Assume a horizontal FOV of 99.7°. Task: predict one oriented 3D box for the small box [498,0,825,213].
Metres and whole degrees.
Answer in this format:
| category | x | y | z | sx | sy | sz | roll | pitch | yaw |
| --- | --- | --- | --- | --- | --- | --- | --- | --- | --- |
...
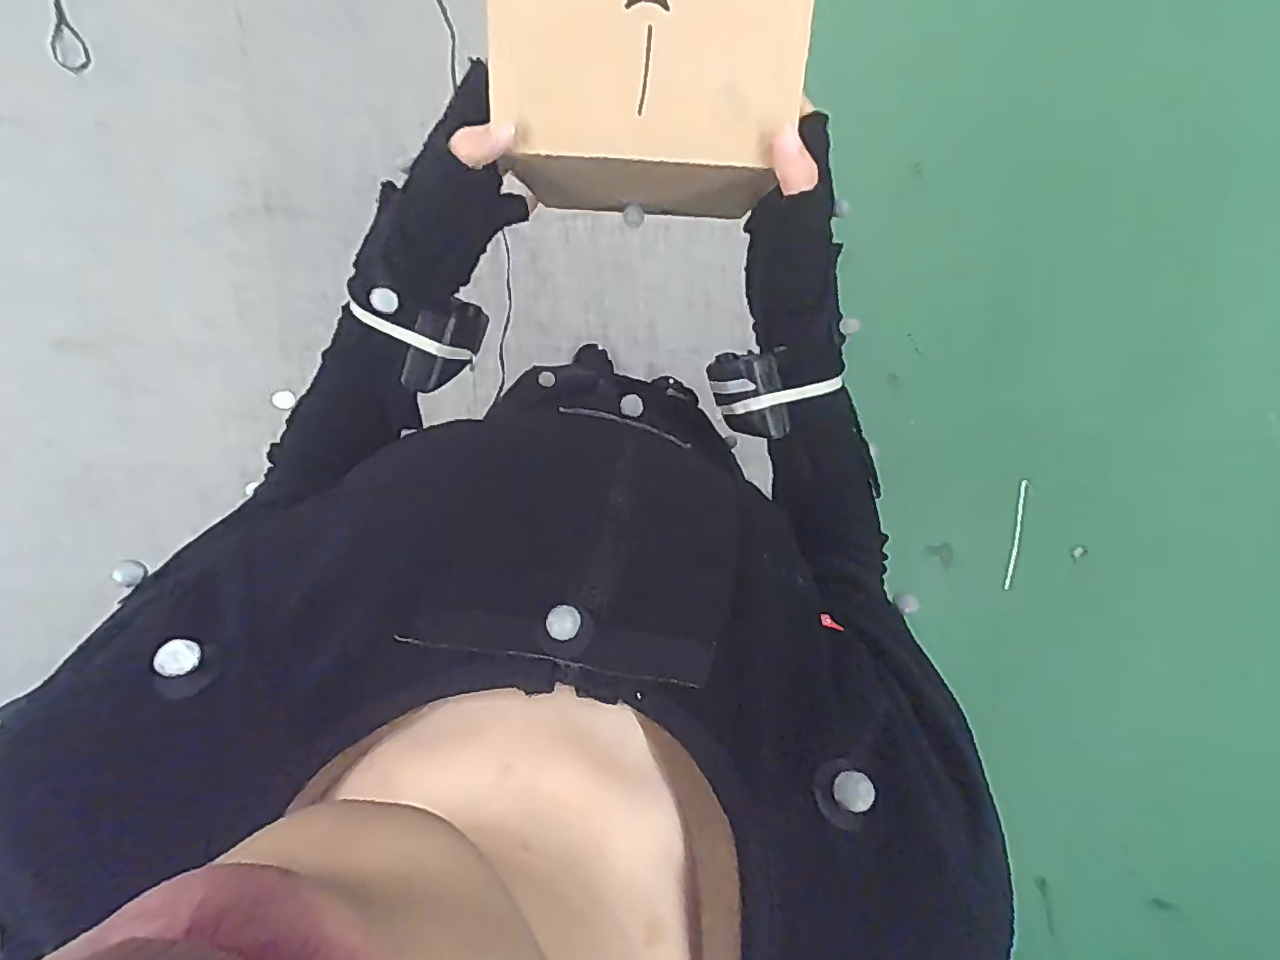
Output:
| category | x | y | z | sx | sy | sz | roll | pitch | yaw |
| --- | --- | --- | --- | --- | --- | --- | --- | --- | --- |
| small box | 0.012 | -0.284 | 0.341 | 0.168 | 0.176 | 0.179 | 3 | 107 | 0 |
